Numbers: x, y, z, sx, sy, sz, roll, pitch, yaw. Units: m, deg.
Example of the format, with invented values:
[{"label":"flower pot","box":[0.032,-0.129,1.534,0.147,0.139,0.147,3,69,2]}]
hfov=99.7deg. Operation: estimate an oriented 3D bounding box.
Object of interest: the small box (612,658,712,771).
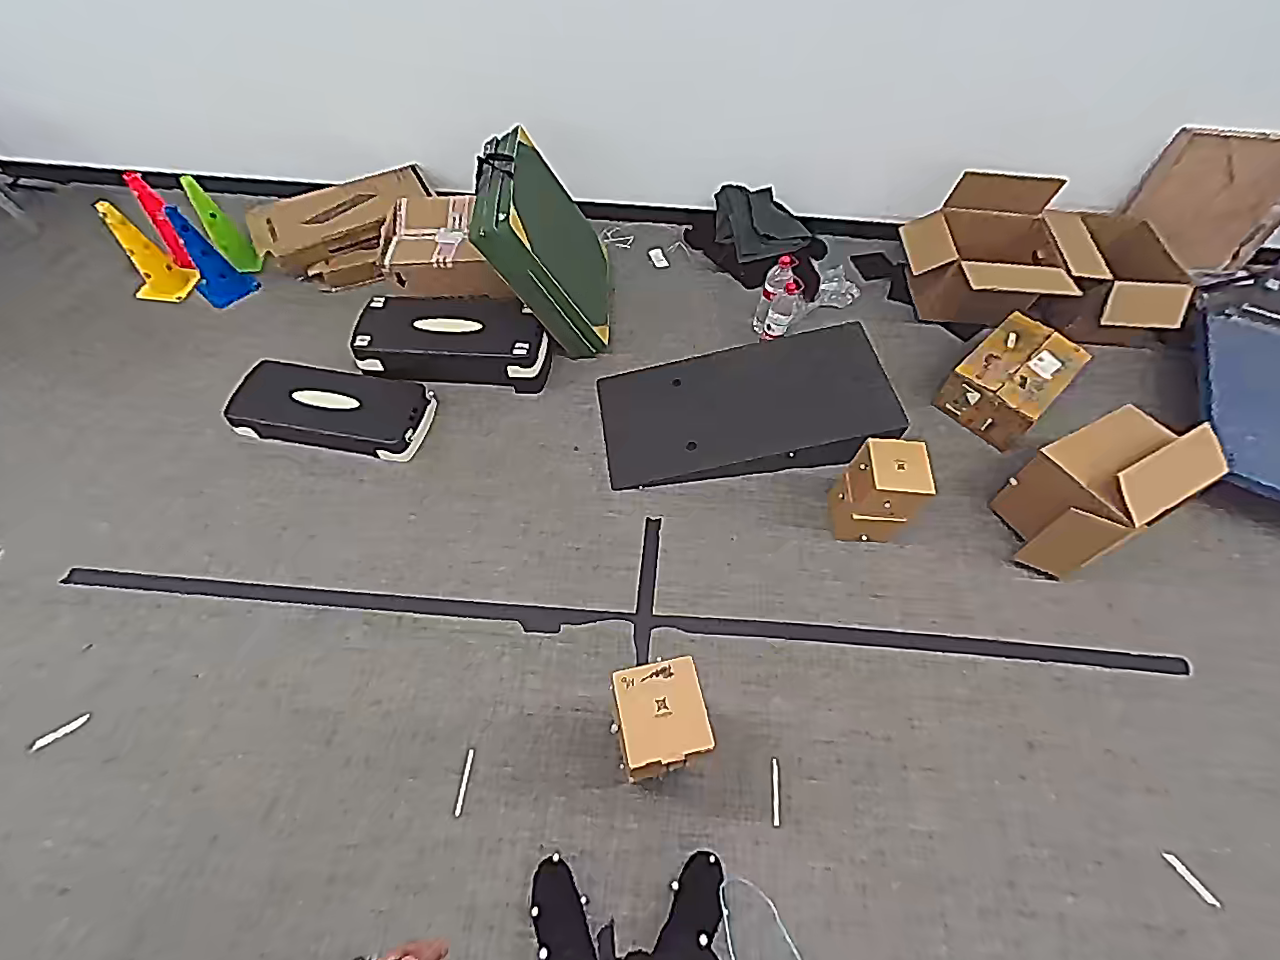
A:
[{"label":"small box","box":[0.039,0.482,1.104,0.168,0.176,0.179,-9,61,-8]}]
